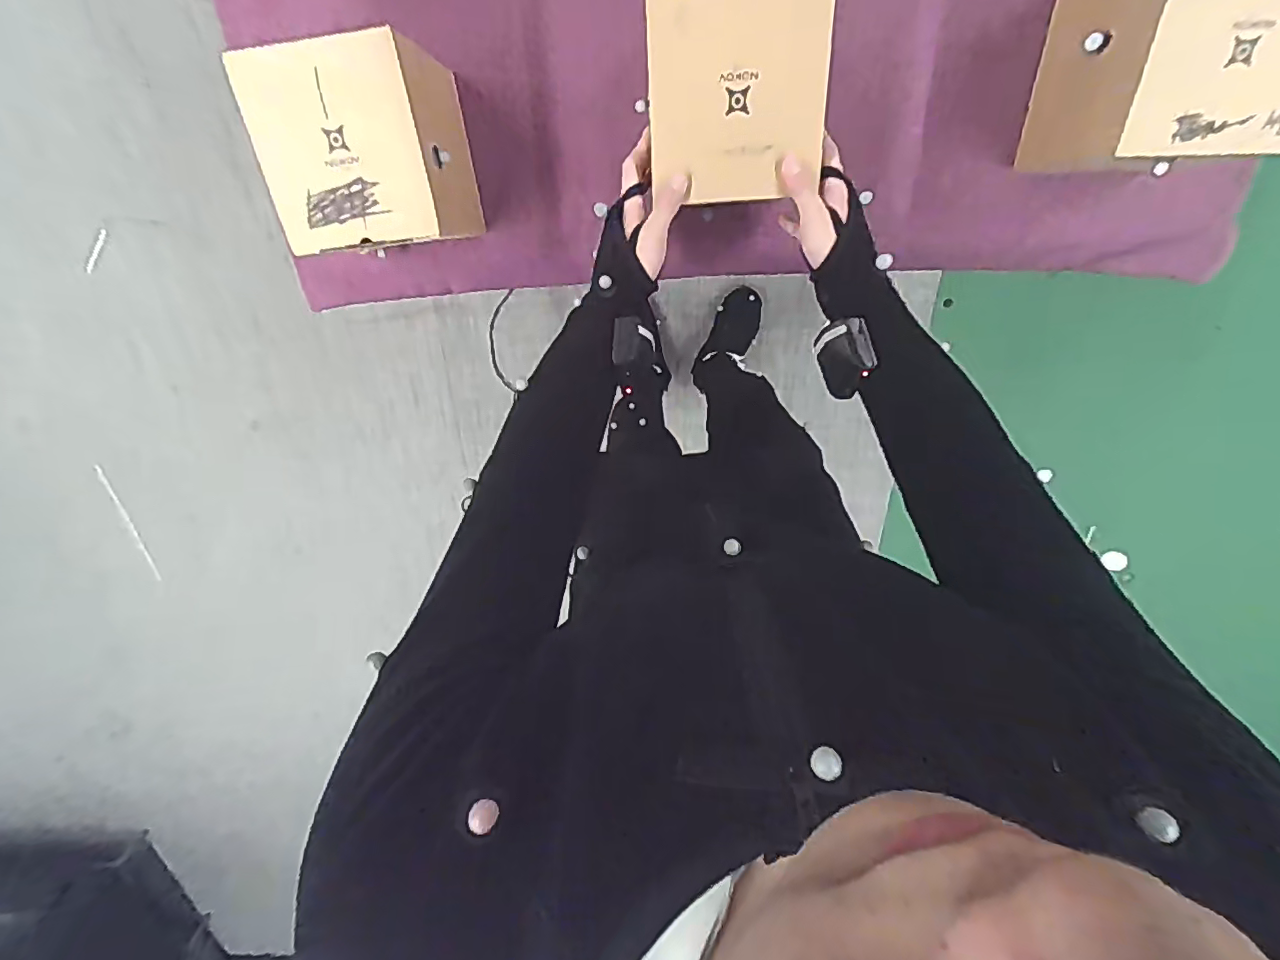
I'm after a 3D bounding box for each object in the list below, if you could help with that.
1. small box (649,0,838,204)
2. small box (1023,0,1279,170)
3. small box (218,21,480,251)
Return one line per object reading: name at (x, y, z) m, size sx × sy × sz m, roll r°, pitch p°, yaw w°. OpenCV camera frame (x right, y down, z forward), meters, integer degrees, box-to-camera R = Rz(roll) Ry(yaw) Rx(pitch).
small box at (0.093, -0.391, 0.566) m, size 0.168 × 0.176 × 0.179 m, roll -1°, pitch 117°, yaw 3°
small box at (0.527, -0.417, 0.537) m, size 0.168 × 0.176 × 0.179 m, roll 1°, pitch 116°, yaw 2°
small box at (-0.291, -0.358, 0.590) m, size 0.168 × 0.176 × 0.179 m, roll -5°, pitch 116°, yaw 4°
